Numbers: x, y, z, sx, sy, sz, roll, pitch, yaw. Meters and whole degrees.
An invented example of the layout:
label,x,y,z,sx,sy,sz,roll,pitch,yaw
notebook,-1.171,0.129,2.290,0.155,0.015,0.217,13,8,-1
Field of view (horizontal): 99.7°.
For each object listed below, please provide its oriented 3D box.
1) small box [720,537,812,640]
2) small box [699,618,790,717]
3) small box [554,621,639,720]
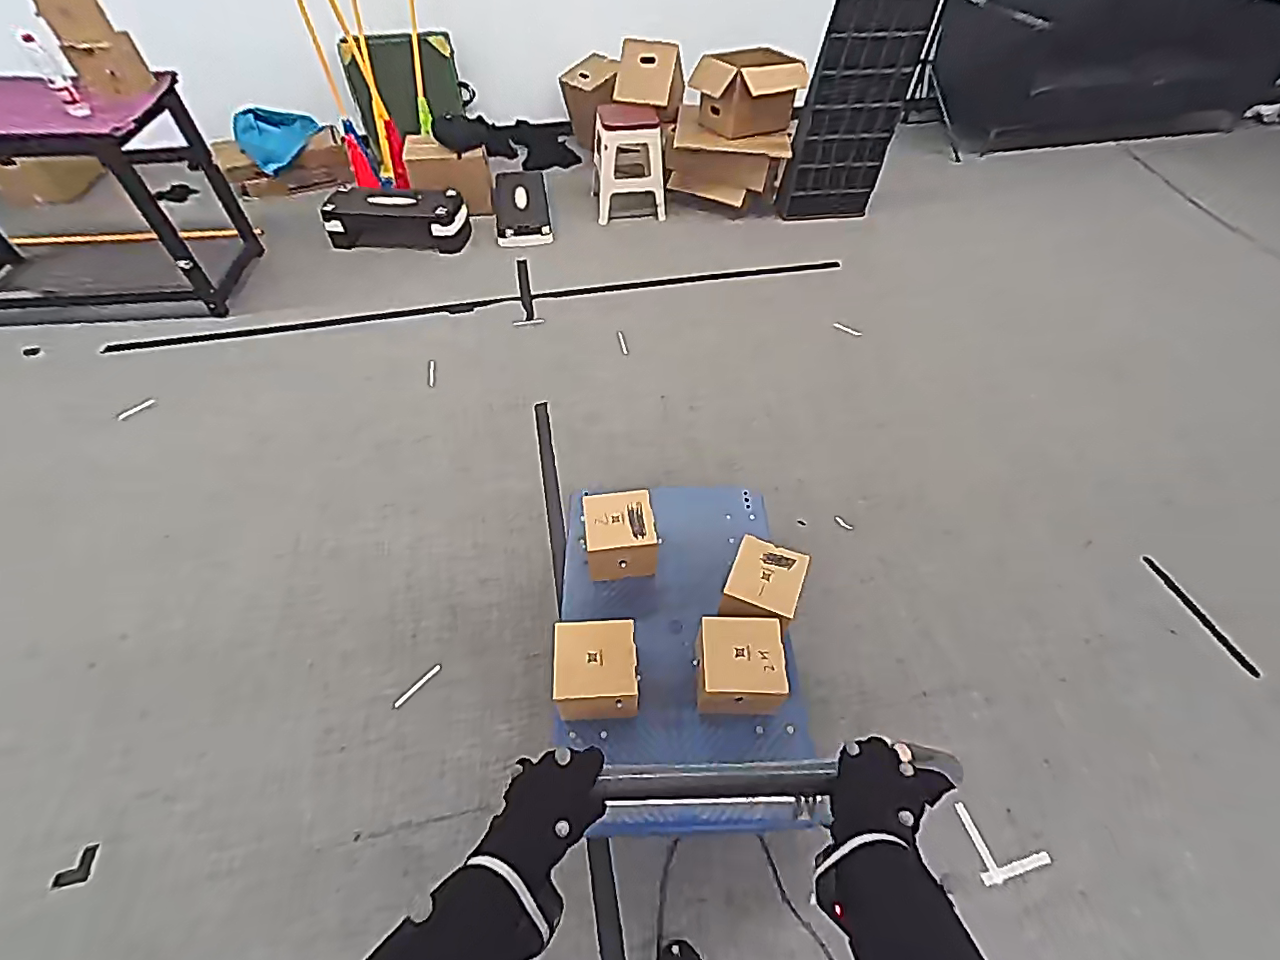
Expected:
label,x,y,z,sx,sy,sz,roll,pitch,yaw
small box,0.305,0.276,1.330,0.168,0.176,0.179,19,55,14
small box,0.224,0.424,1.214,0.179,0.176,0.168,2,53,1
small box,-0.093,0.429,1.208,0.179,0.176,0.168,-1,52,-4
